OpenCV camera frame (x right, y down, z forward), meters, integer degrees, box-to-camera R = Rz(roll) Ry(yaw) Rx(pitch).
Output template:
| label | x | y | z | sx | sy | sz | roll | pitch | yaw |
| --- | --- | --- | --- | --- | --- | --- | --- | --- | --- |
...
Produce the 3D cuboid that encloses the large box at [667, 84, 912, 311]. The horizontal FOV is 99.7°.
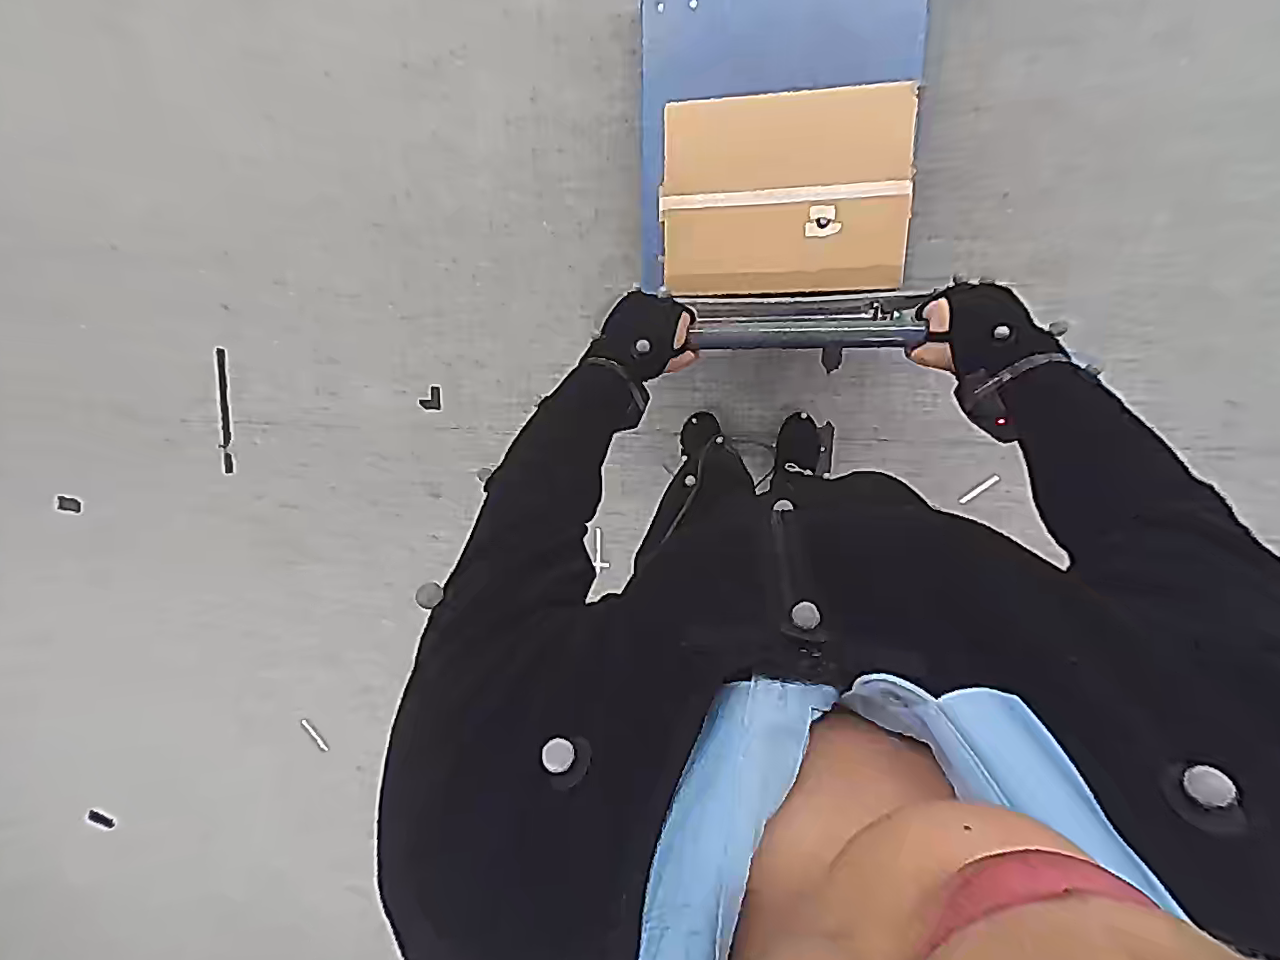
| label | x | y | z | sx | sy | sz | roll | pitch | yaw |
| --- | --- | --- | --- | --- | --- | --- | --- | --- | --- |
| large box | 0.267 | -0.517 | 1.071 | 0.408 | 0.320 | 0.320 | 1 | 103 | 9 |
